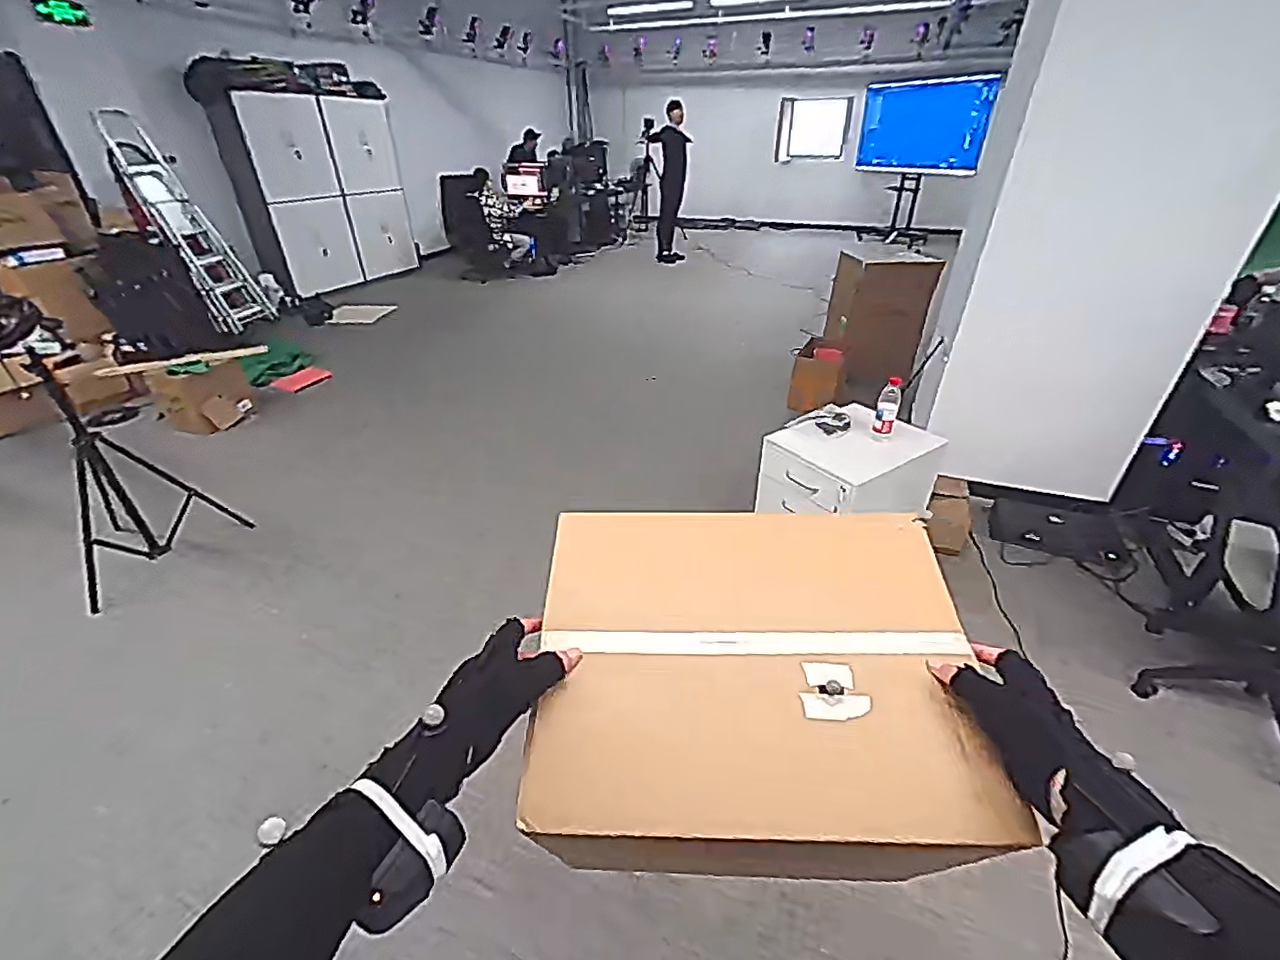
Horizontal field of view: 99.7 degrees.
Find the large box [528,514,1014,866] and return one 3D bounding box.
[{"bbox_3d":[0.108,0.255,0.645,0.408,0.320,0.320,0,50,2],"label":"large box"}]
